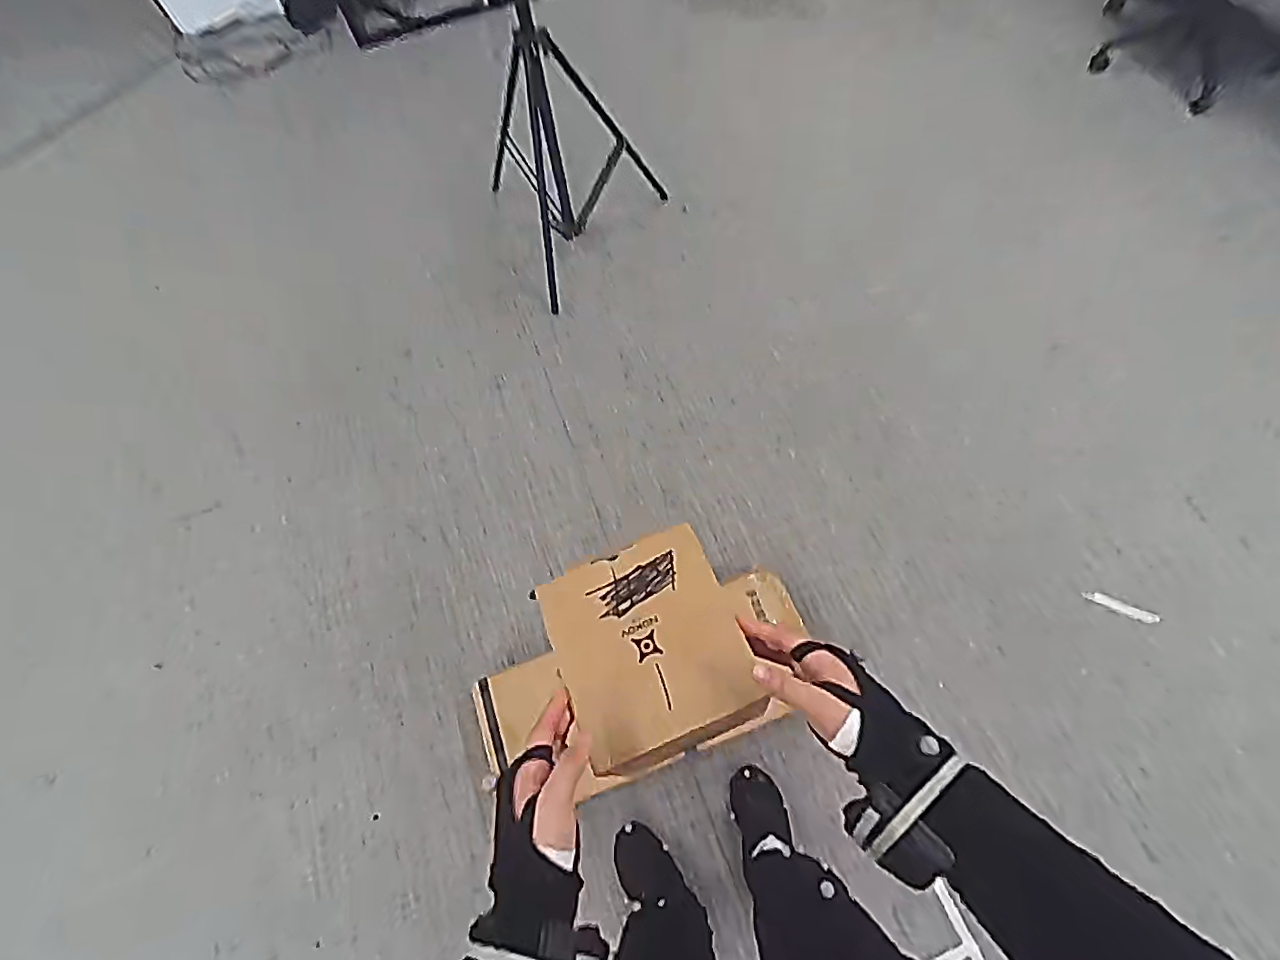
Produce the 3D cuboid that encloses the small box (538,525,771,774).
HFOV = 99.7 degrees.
[{"bbox_3d":[0.016,0.180,0.553,0.168,0.176,0.179,-23,60,-3],"label":"small box"}]
